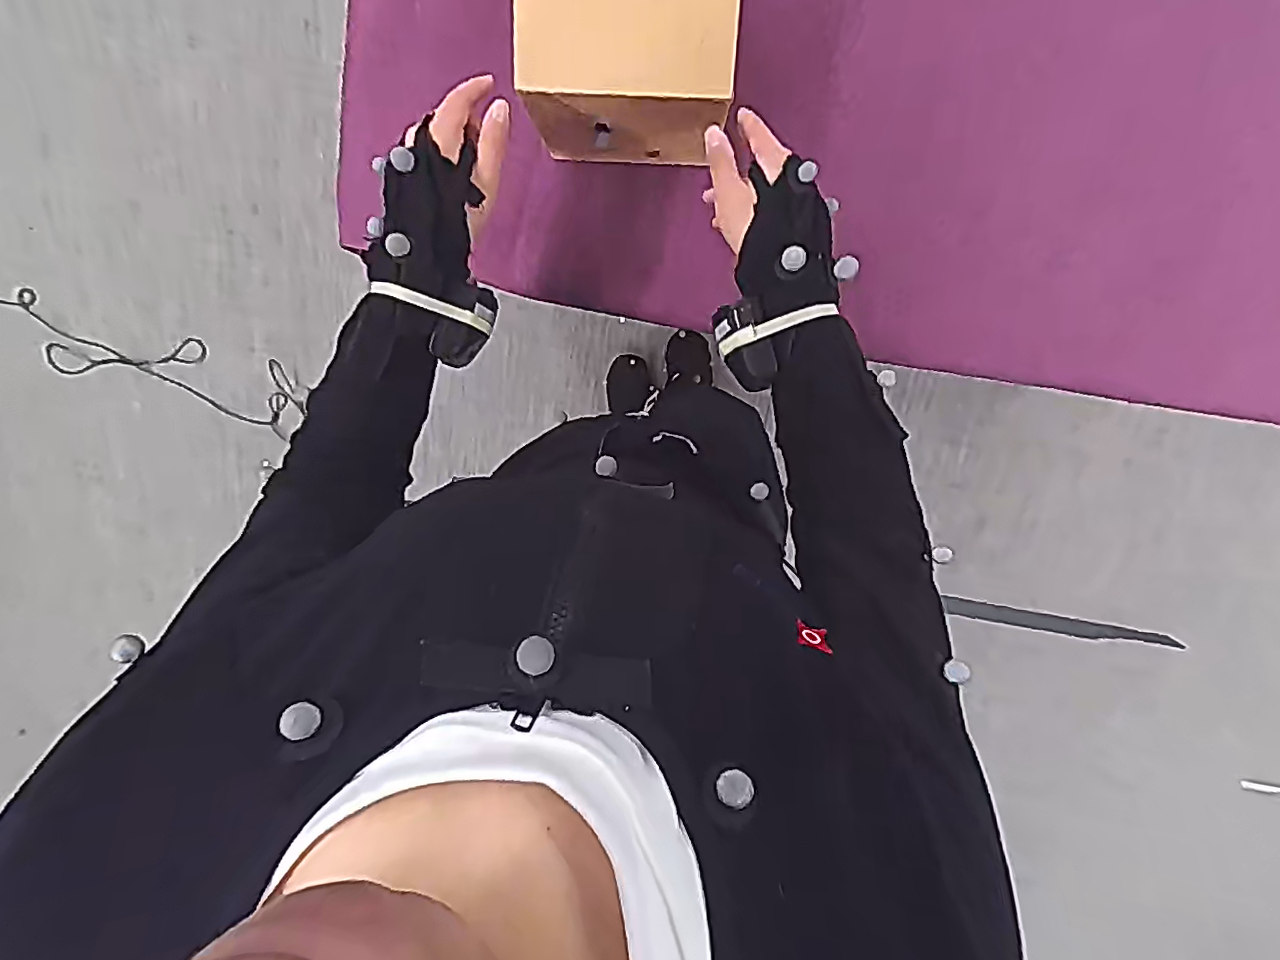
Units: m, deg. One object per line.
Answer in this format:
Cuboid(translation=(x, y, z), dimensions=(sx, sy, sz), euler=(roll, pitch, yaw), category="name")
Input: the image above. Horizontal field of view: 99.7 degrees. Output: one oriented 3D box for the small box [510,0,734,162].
Cuboid(translation=(-0.008, -0.392, 0.460), dimensions=(0.168, 0.176, 0.179), euler=(3, 104, 1), category="small box")
